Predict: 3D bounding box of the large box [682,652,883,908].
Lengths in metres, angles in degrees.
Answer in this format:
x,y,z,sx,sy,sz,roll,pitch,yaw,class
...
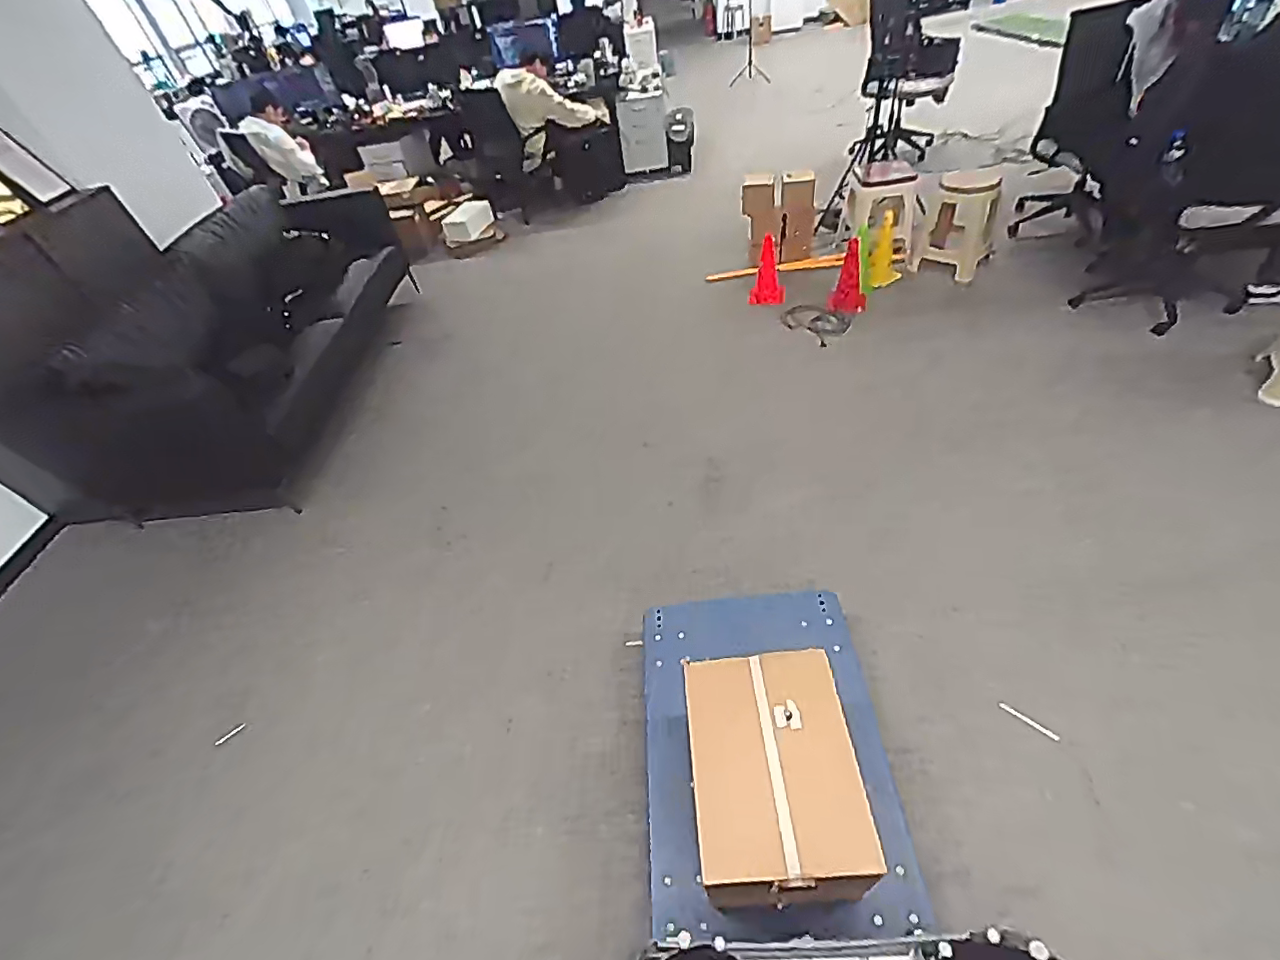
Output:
x,y,z,sx,sy,sz,roll,pitch,yaw,class
0.280,0.643,1.167,0.320,0.320,0.408,-8,45,5,large box
